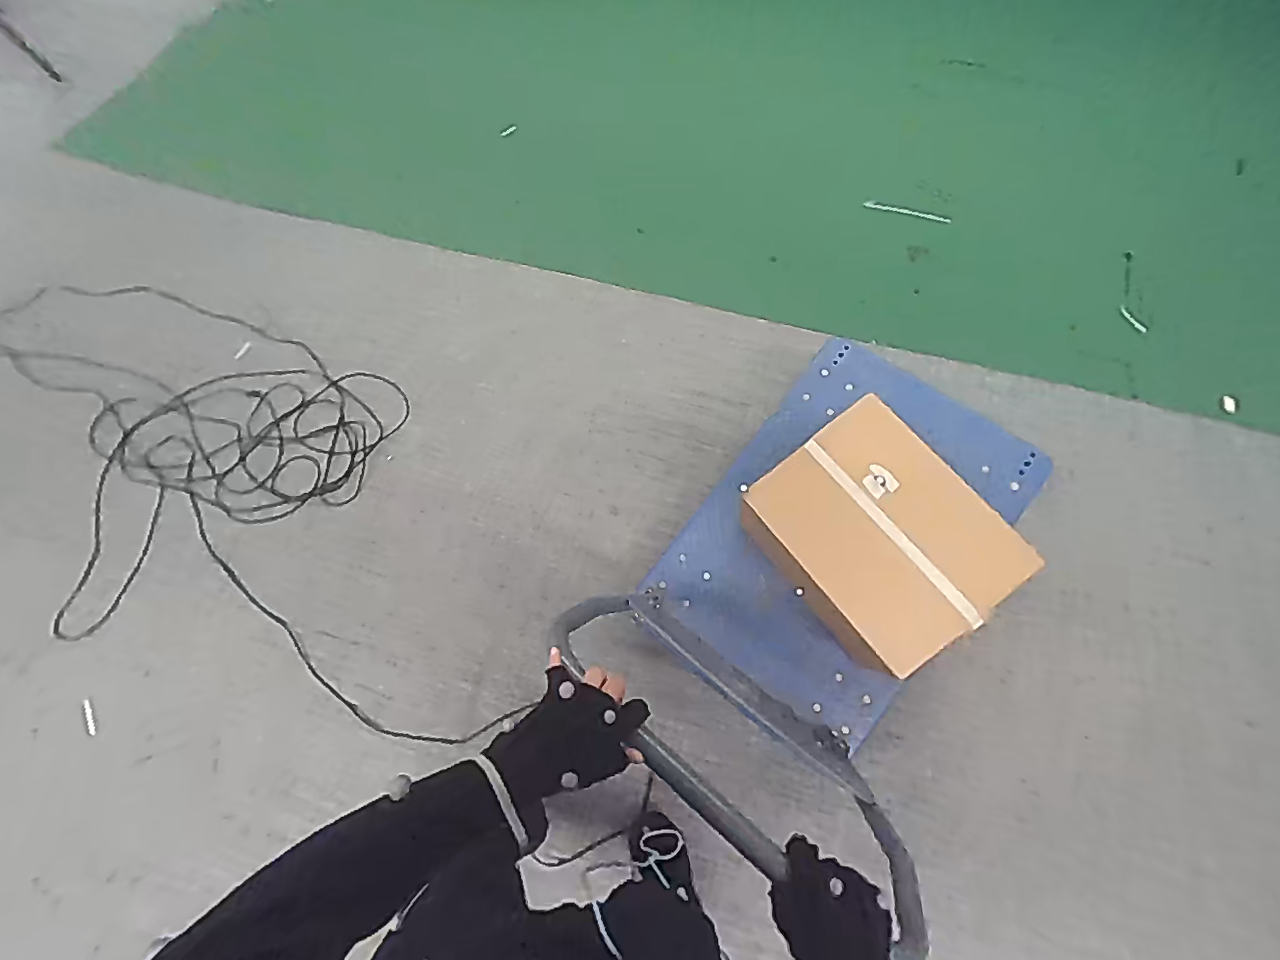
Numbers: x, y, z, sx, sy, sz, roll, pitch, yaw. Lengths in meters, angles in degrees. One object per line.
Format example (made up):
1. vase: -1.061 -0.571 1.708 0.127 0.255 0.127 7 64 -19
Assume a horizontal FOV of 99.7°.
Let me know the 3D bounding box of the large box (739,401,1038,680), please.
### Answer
1. large box: 0.447 0.128 1.083 0.320 0.320 0.408 -37 72 -2
